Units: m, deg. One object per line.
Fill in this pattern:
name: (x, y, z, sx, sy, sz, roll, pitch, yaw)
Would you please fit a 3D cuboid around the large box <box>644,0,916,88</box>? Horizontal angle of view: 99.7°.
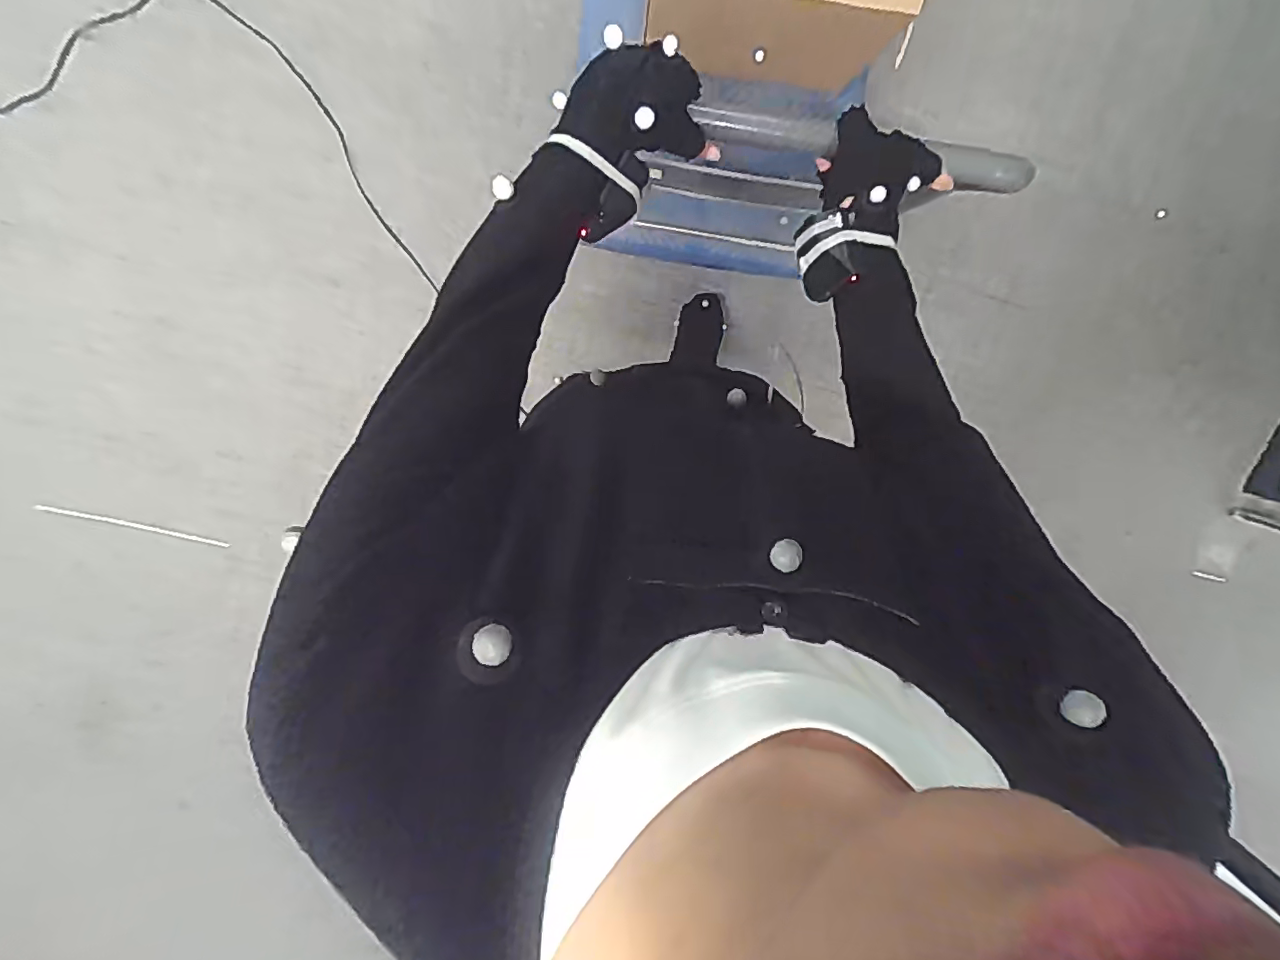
large box: (0.225, -0.907, 0.902, 0.408, 0.320, 0.320, 5, 106, -4)
